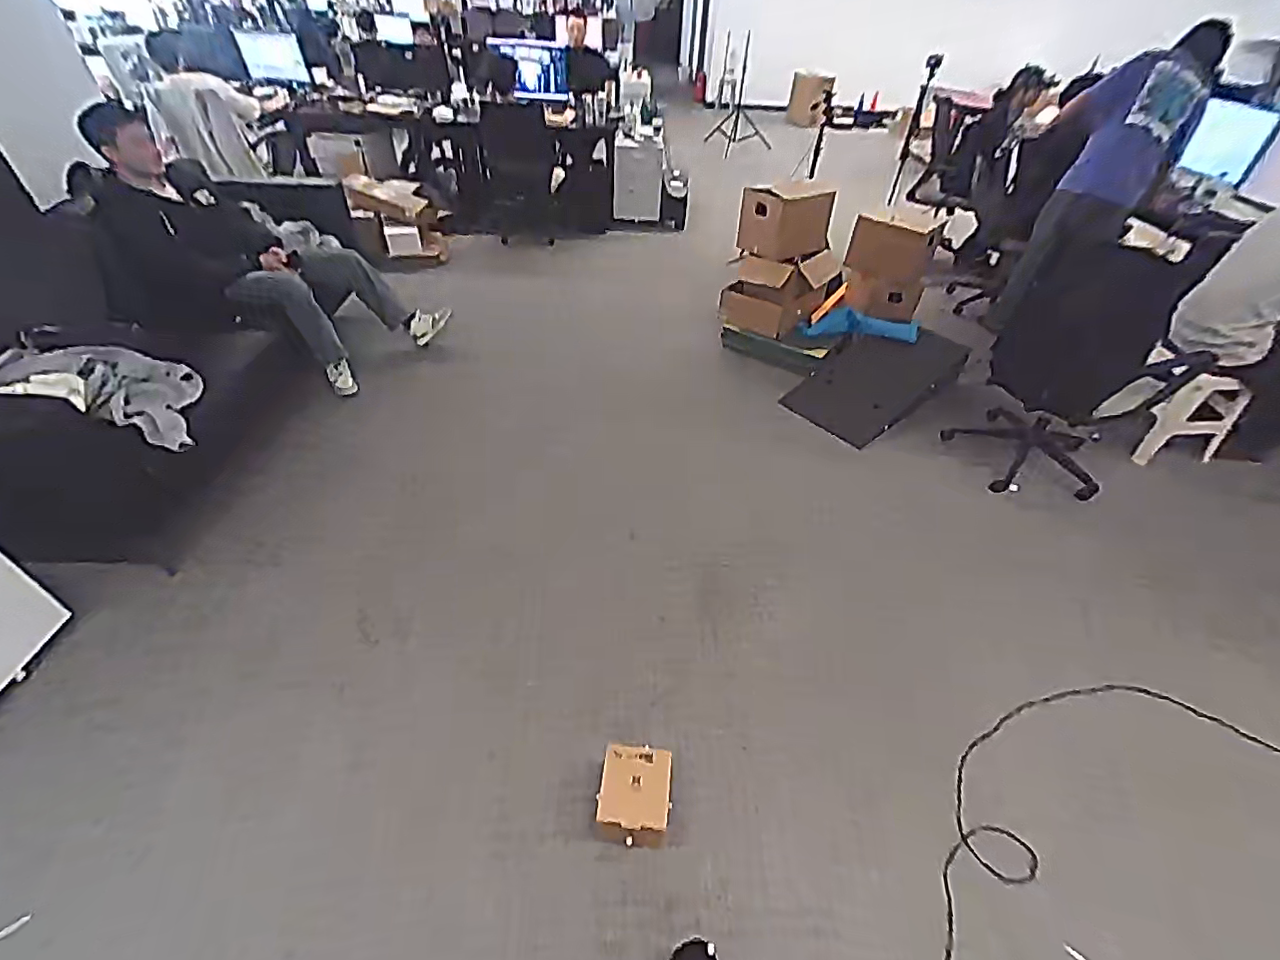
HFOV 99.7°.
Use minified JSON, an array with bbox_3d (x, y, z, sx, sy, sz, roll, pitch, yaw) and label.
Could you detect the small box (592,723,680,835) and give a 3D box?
[{"bbox_3d":[-0.009,0.761,1.372,0.179,0.176,0.168,-16,44,-16],"label":"small box"}]
